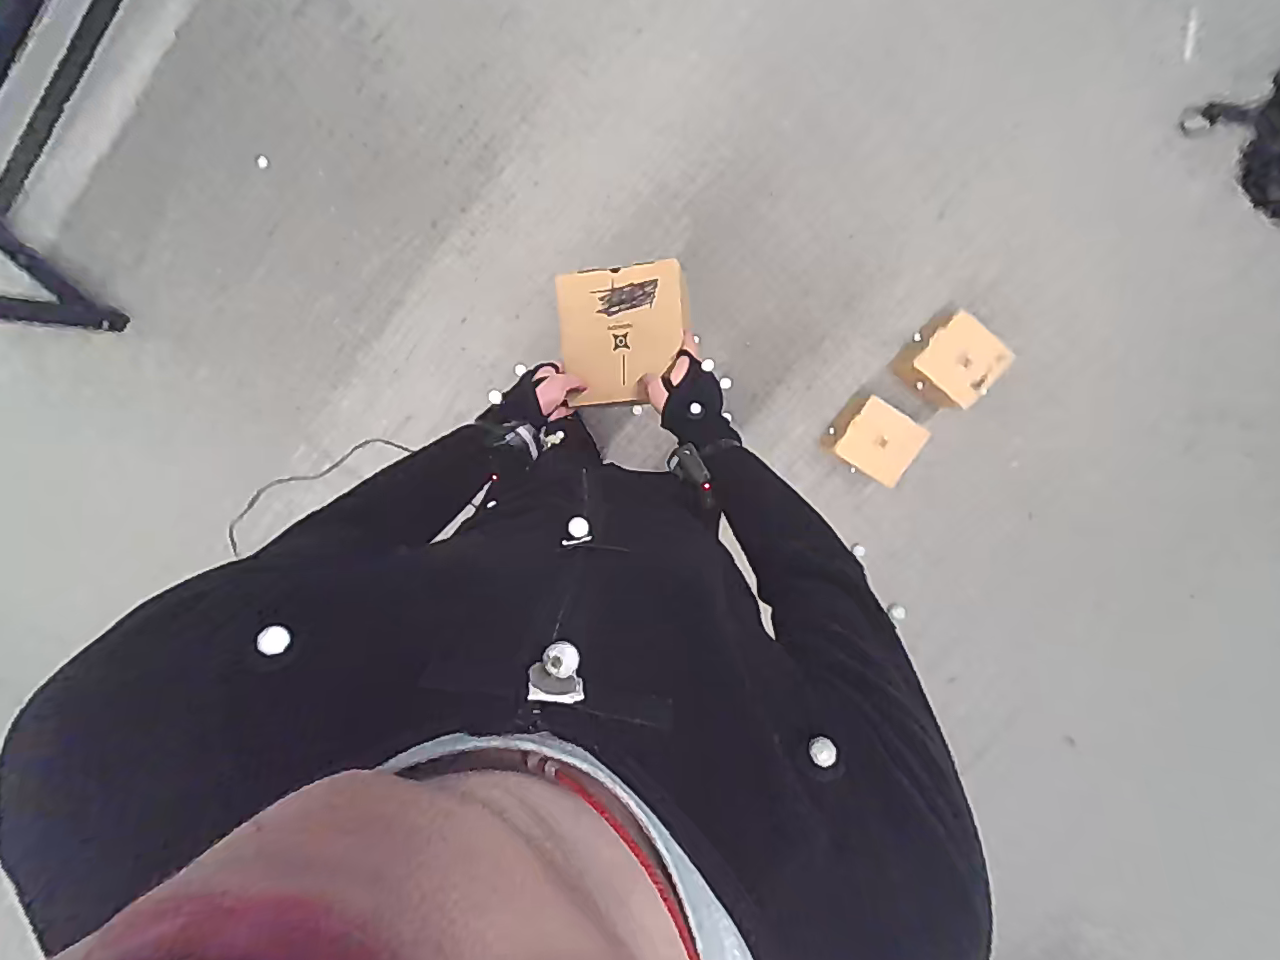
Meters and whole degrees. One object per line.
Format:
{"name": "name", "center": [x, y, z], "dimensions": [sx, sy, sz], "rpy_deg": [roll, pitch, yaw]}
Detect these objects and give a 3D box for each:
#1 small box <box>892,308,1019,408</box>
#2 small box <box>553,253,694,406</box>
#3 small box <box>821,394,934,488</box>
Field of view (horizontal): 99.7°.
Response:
{"name": "small box", "center": [0.764, -0.291, 1.334], "dimensions": [0.179, 0.176, 0.168], "rpy_deg": [41, 99, -1]}
{"name": "small box", "center": [-0.014, -0.200, 0.768], "dimensions": [0.168, 0.176, 0.179], "rpy_deg": [-4, 97, 10]}
{"name": "small box", "center": [0.593, -0.104, 1.379], "dimensions": [0.179, 0.176, 0.168], "rpy_deg": [32, 101, -2]}
